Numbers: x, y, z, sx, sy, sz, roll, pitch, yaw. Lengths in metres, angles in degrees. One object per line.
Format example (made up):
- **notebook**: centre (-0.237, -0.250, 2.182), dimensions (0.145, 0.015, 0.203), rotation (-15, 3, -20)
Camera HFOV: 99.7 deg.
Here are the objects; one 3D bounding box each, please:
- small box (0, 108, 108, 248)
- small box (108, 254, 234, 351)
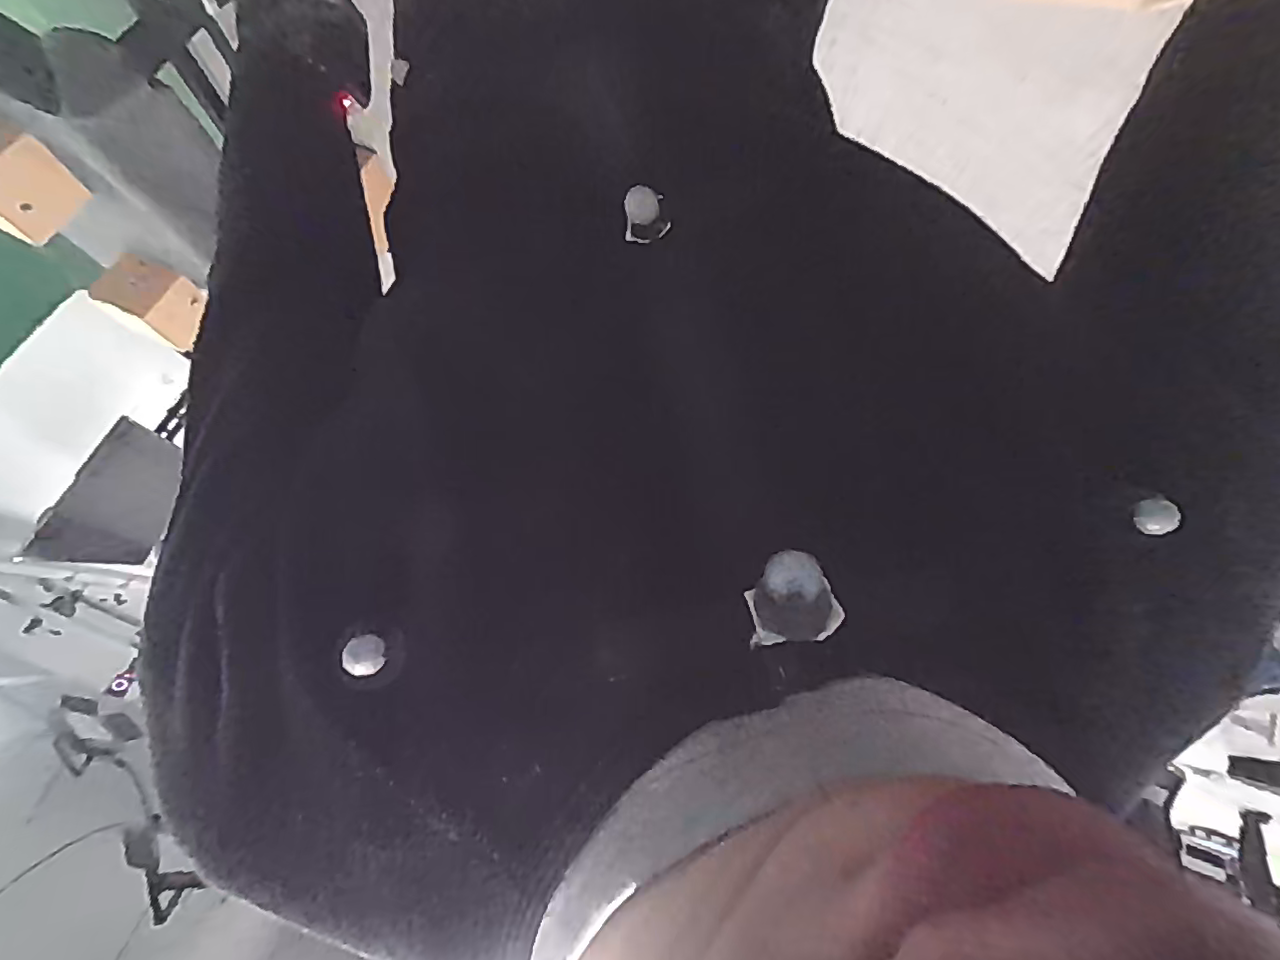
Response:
- **small box**: centre (-1.303, -0.641, 1.139), dimensions (0.168, 0.176, 0.179), rotation (25, 161, -5)
- **small box**: centre (-1.331, -0.509, 1.549), dimensions (0.168, 0.176, 0.179), rotation (24, 161, 0)
